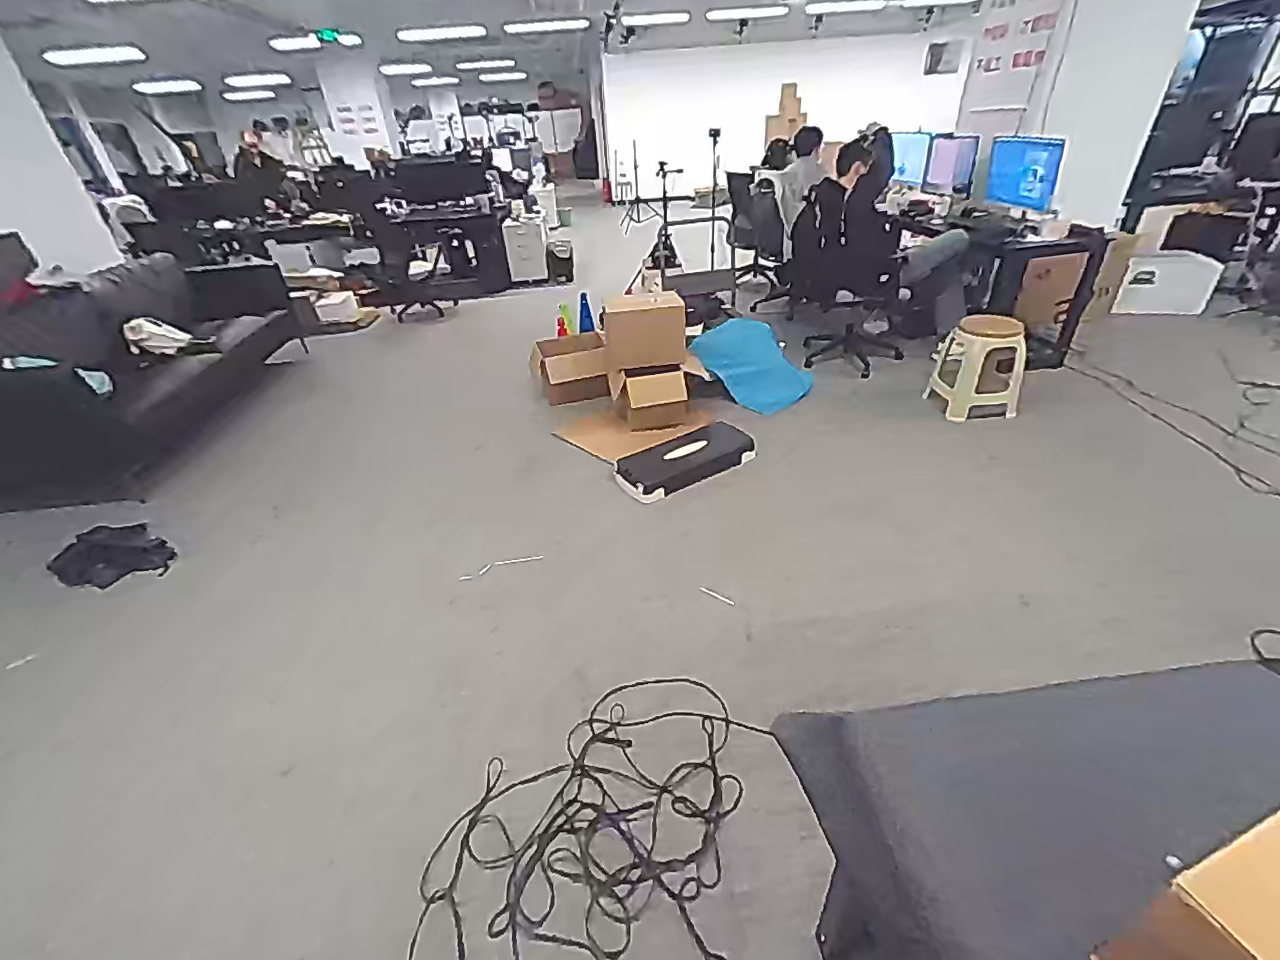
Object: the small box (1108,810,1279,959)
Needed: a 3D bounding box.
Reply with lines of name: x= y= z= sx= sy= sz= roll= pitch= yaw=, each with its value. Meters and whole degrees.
small box: x=0.528 y=0.392 z=0.421 sx=0.179 sy=0.176 sz=0.168 roll=-16 pitch=35 yaw=-16
